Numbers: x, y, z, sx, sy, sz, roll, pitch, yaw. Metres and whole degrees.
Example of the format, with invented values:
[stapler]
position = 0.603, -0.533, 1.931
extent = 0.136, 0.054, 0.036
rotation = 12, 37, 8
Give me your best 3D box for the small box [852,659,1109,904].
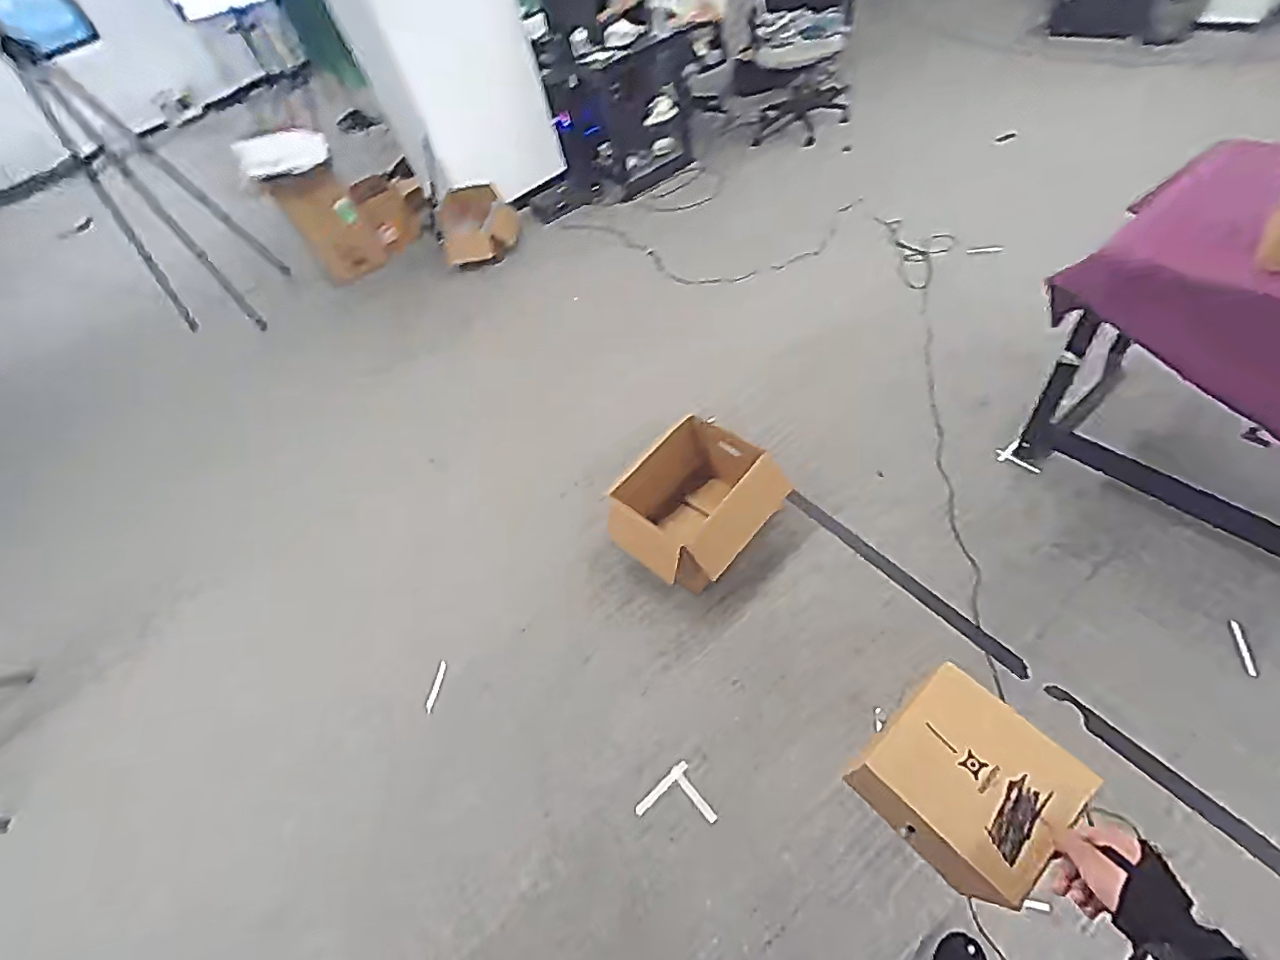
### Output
[small box]
position = 0.385, 0.352, 0.647
extent = 0.168, 0.176, 0.179
rotation = -40, 58, -16
